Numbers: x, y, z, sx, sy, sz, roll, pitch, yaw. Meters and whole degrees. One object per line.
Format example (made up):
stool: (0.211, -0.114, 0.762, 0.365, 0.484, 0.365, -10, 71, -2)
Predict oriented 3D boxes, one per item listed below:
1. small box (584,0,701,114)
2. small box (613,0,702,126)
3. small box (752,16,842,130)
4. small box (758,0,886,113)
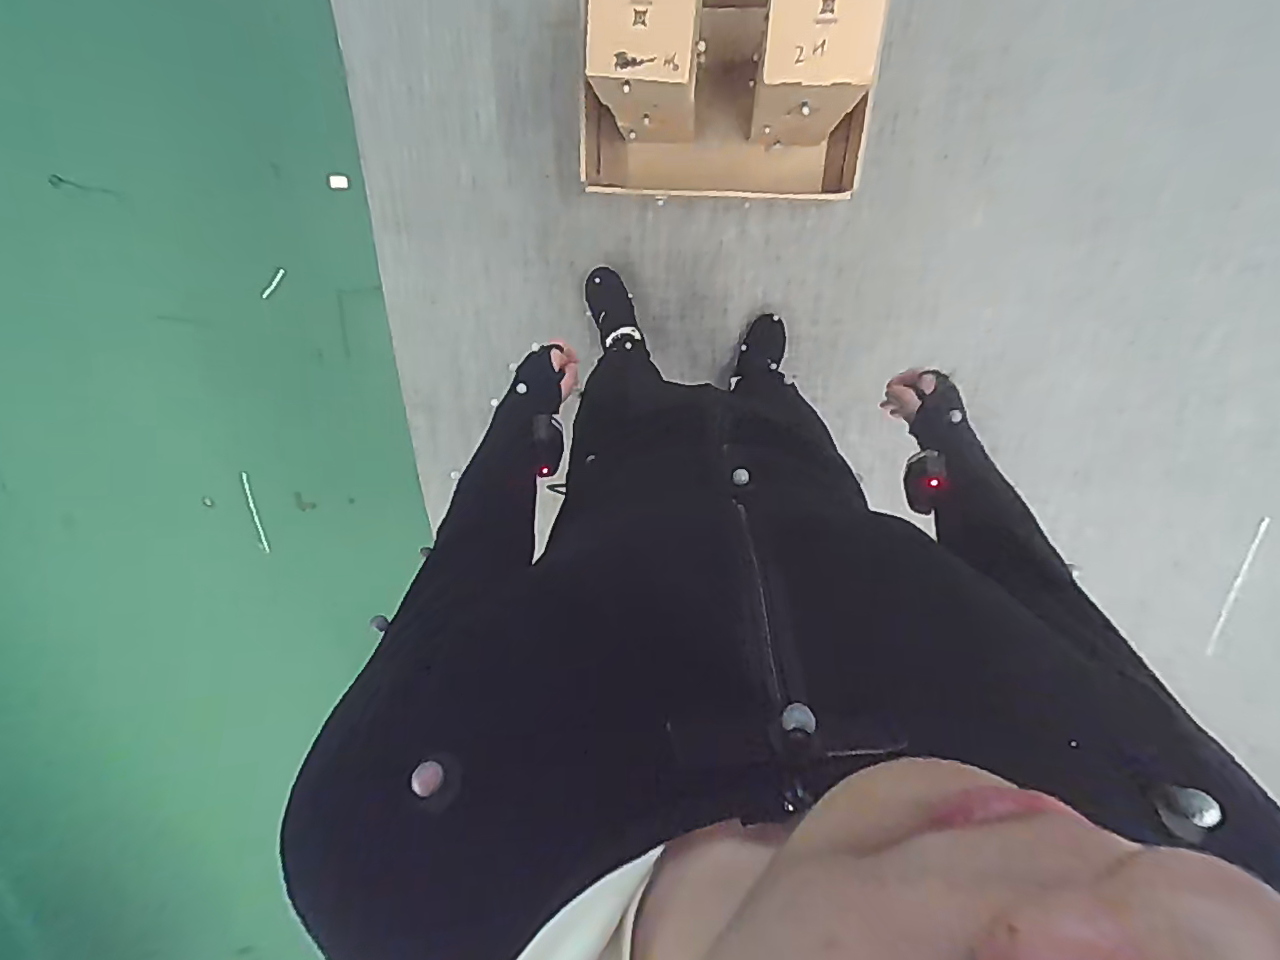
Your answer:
small box: (0.009, -0.734, 0.885, 0.168, 0.176, 0.179, 8, 111, 3)
small box: (0.027, -0.804, 1.034, 0.168, 0.176, 0.179, 5, 112, 4)
small box: (0.306, -0.775, 1.011, 0.168, 0.176, 0.179, 7, 111, 6)
small box: (0.283, -0.712, 0.861, 0.168, 0.176, 0.179, 6, 112, 7)
